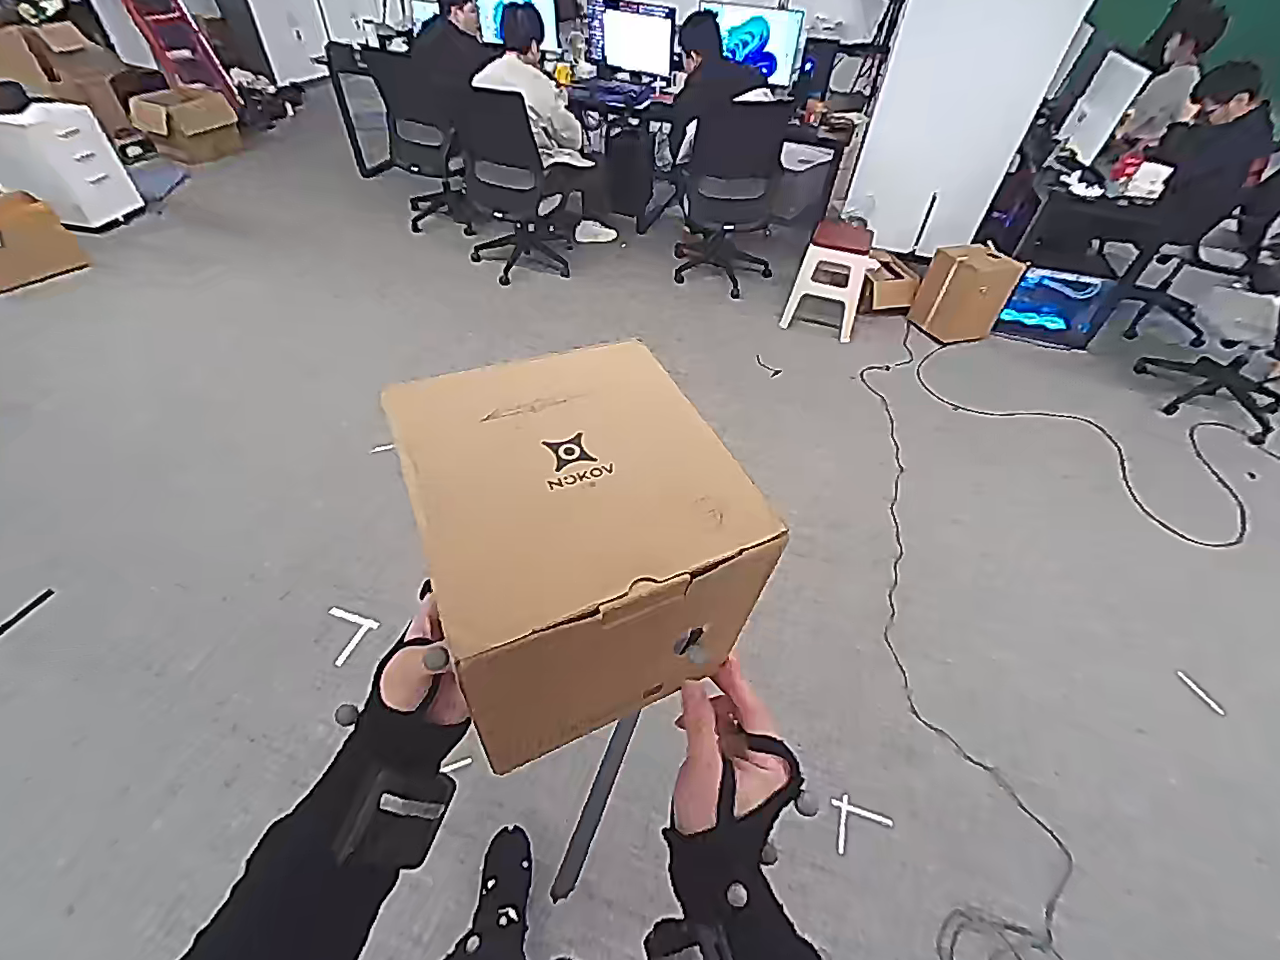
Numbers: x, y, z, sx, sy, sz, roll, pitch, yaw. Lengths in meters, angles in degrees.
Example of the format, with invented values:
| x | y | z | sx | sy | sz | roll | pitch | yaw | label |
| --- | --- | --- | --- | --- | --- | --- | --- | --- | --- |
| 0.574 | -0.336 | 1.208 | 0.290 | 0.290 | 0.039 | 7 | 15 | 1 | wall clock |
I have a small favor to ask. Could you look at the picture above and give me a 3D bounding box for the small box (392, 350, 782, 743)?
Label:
| x | y | z | sx | sy | sz | roll | pitch | yaw | label |
| --- | --- | --- | --- | --- | --- | --- | --- | --- | --- |
| -0.043 | 0.046 | 0.354 | 0.168 | 0.176 | 0.179 | -17 | 53 | -22 | small box |
